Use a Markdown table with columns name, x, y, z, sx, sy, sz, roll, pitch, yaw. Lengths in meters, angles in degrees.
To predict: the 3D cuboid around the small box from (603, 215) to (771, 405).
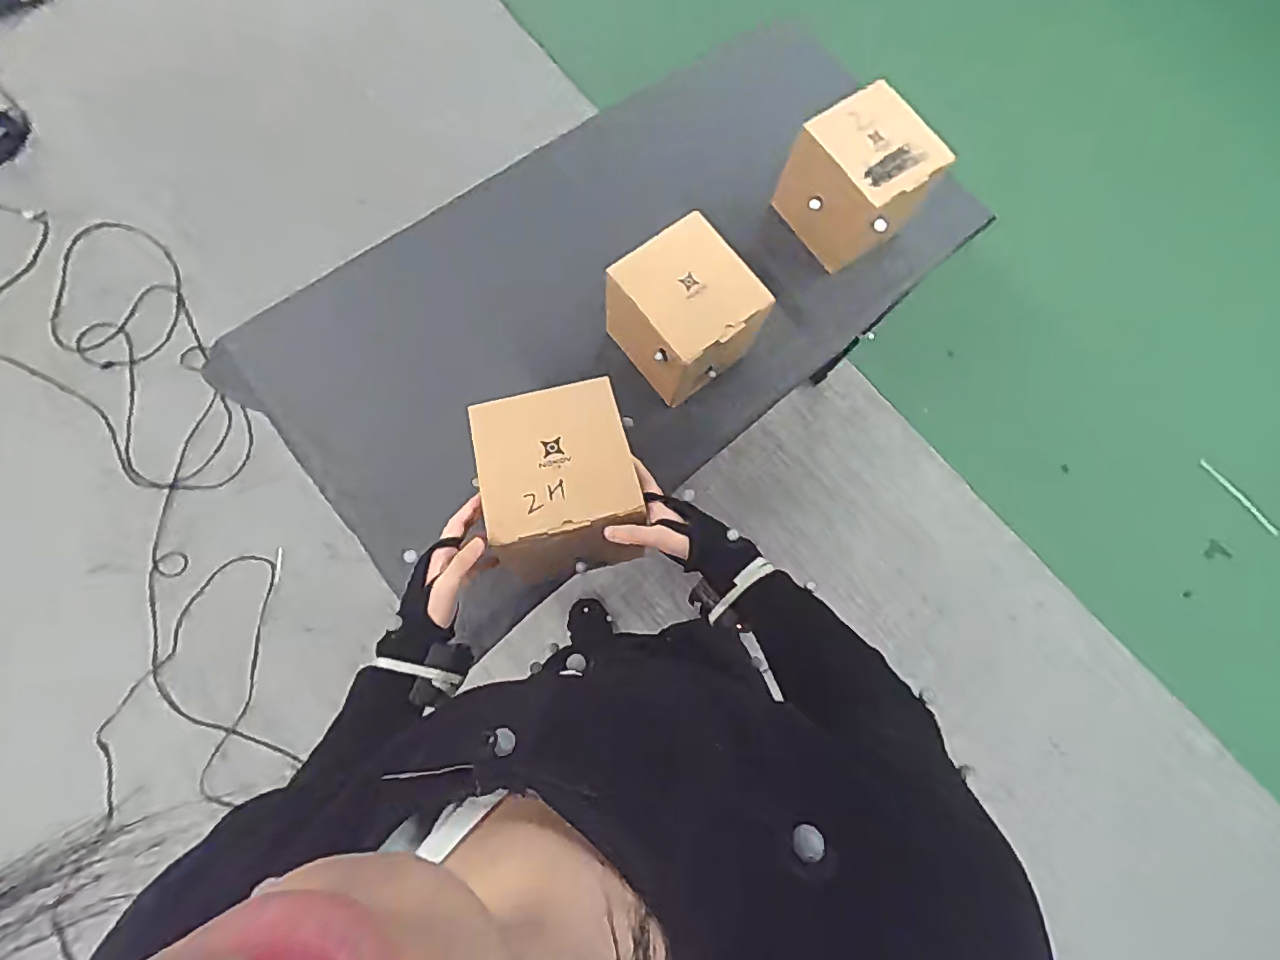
| name | x | y | z | sx | sy | sz | roll | pitch | yaw |
| --- | --- | --- | --- | --- | --- | --- | --- | --- | --- |
| small box | 0.057 | -0.243 | 0.812 | 0.168 | 0.176 | 0.179 | -38 | 84 | -13 |

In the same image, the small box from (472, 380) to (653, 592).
| name | x | y | z | sx | sy | sz | roll | pitch | yaw |
| --- | --- | --- | --- | --- | --- | --- | --- | --- | --- |
| small box | -0.089 | 0.013 | 0.640 | 0.168 | 0.176 | 0.179 | -13 | 65 | -8 |
